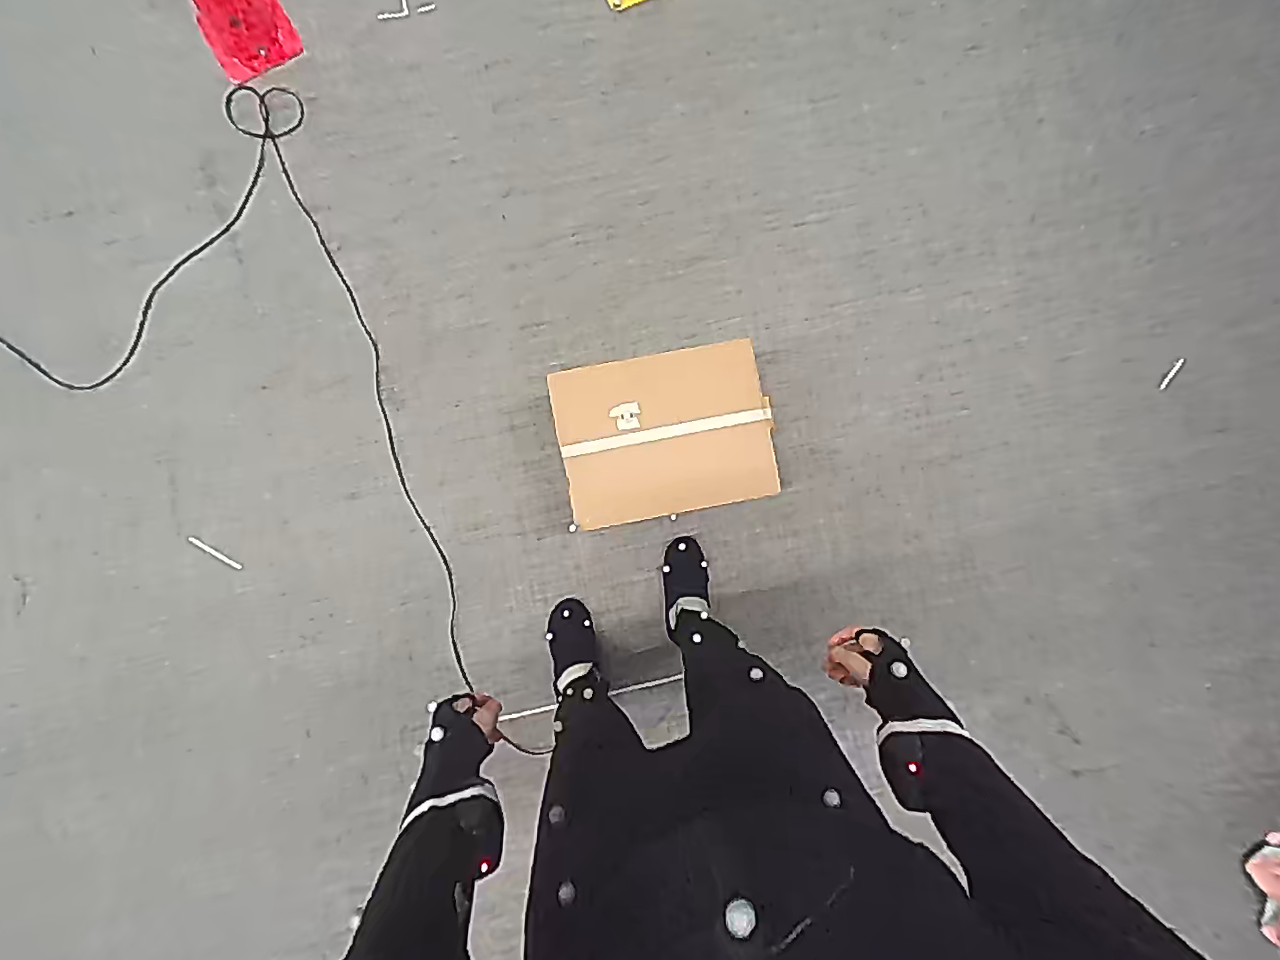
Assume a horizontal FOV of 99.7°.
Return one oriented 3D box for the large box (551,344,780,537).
[{"bbox_3d":[0.050,-0.075,1.197,0.408,0.320,0.320,-11,88,-1],"label":"large box"}]
